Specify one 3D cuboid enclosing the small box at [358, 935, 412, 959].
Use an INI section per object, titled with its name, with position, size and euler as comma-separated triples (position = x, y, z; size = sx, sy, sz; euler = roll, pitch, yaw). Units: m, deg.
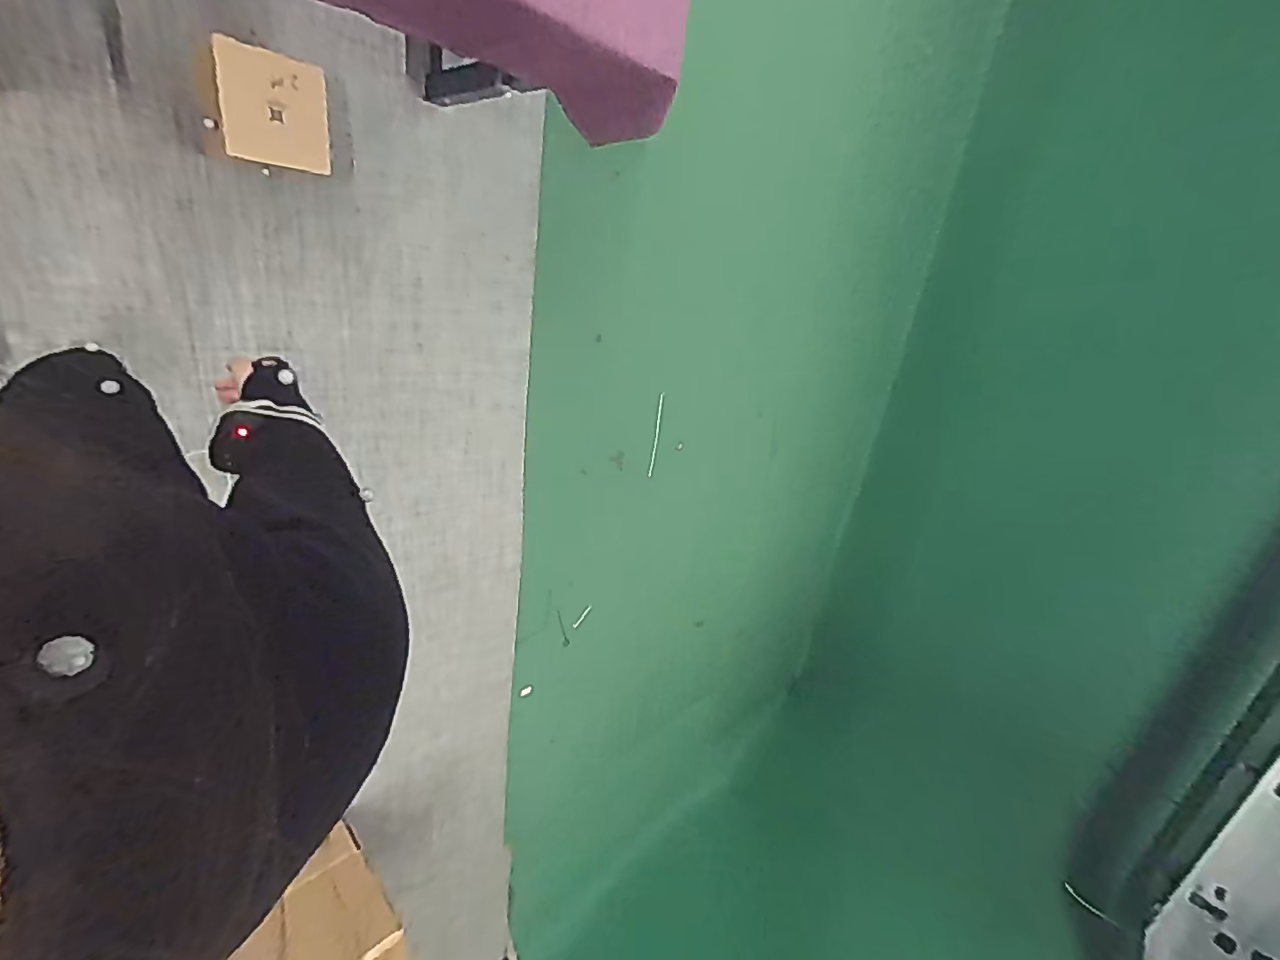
[small box]
position = -0.697, 1.399, 1.458
size = 0.168, 0.176, 0.179
euler = -14, 118, -43
